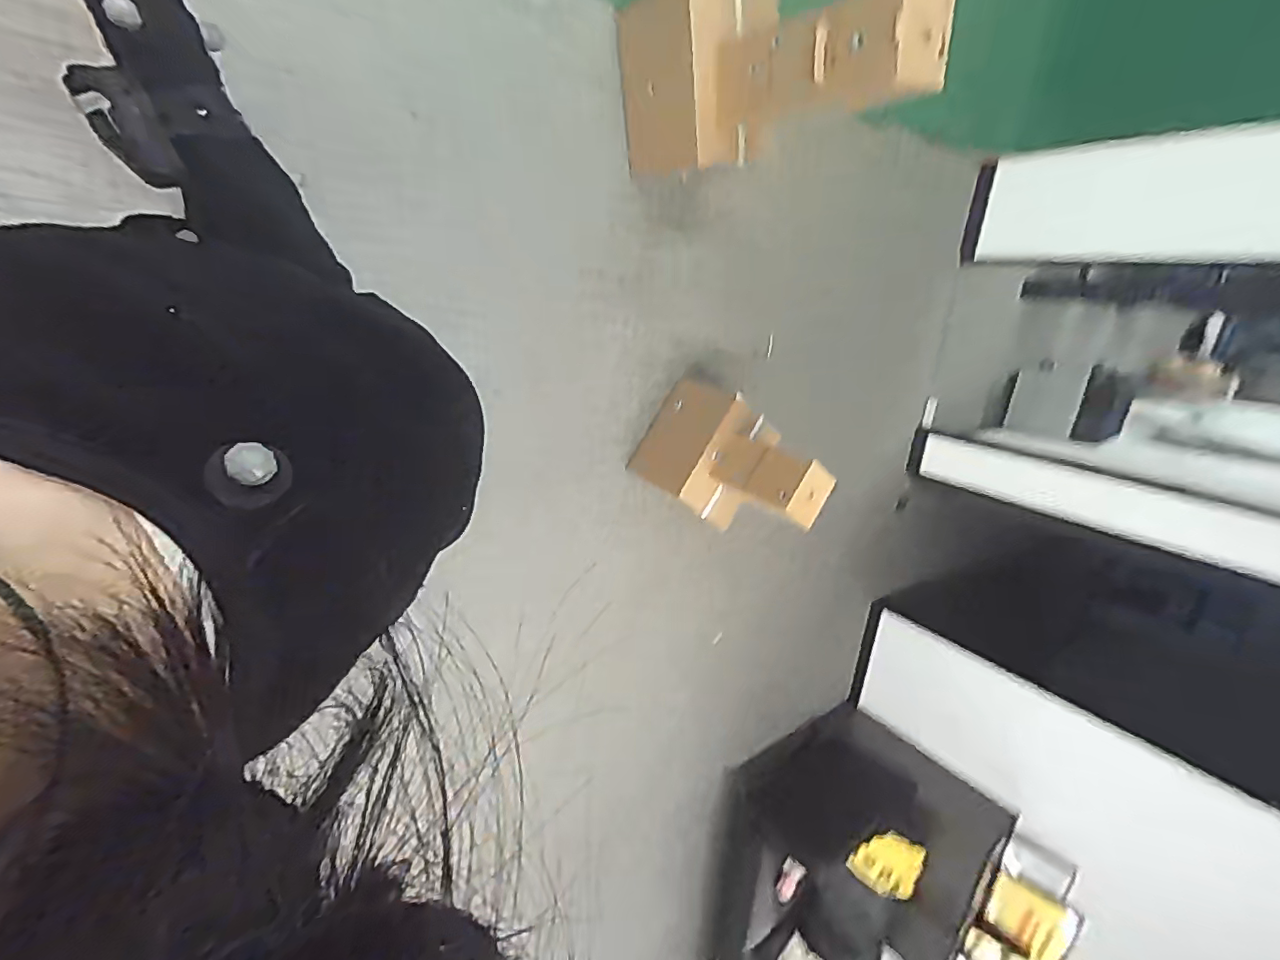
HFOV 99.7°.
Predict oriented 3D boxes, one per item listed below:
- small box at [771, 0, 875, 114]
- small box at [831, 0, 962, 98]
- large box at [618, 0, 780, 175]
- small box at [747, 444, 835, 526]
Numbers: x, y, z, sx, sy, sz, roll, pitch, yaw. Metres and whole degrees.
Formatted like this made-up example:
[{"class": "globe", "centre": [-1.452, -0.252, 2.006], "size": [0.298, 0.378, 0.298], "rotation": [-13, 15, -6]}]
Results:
[{"class": "small box", "centre": [0.415, -0.941, 1.219], "size": [0.179, 0.176, 0.168], "rotation": [-18, 119, -31]}, {"class": "small box", "centre": [0.513, -0.892, 1.096], "size": [0.179, 0.176, 0.168], "rotation": [-18, 120, -29]}, {"class": "large box", "centre": [0.168, -1.104, 1.502], "size": [0.320, 0.320, 0.408], "rotation": [-24, 121, -30]}, {"class": "small box", "centre": [0.462, 0.010, 1.668], "size": [0.168, 0.176, 0.179], "rotation": [32, 89, -42]}]
